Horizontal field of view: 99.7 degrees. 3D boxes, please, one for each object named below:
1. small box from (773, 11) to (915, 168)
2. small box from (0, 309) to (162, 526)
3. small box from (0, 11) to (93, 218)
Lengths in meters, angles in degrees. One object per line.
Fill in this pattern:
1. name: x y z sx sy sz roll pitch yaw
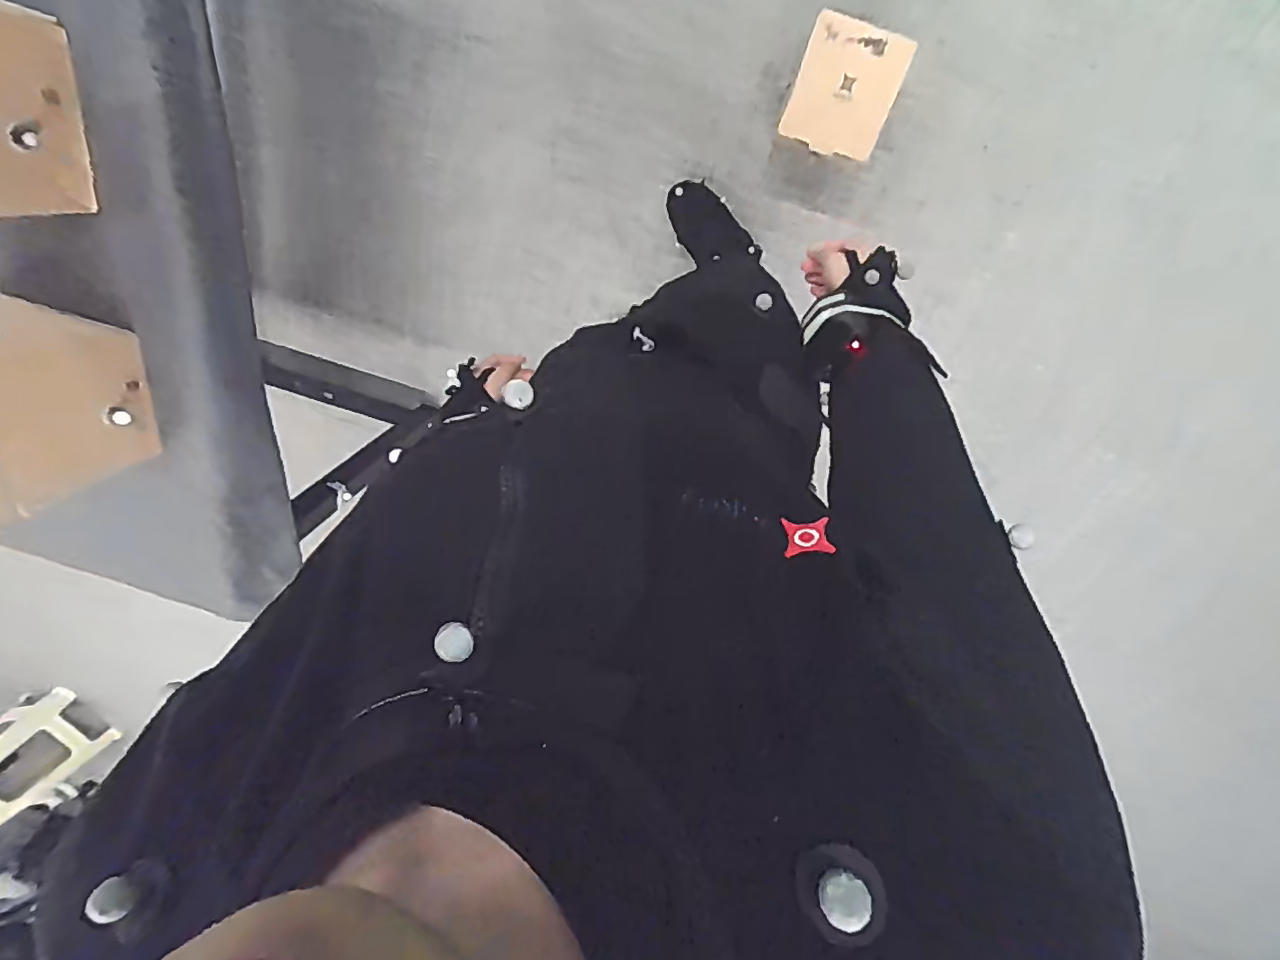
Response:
1. small box: 0.342 -0.669 0.949 0.168 0.176 0.179 18 121 -1
2. small box: -0.698 -0.080 0.600 0.179 0.176 0.168 16 120 0
3. small box: -0.640 -0.330 0.458 0.179 0.176 0.168 19 119 -1
